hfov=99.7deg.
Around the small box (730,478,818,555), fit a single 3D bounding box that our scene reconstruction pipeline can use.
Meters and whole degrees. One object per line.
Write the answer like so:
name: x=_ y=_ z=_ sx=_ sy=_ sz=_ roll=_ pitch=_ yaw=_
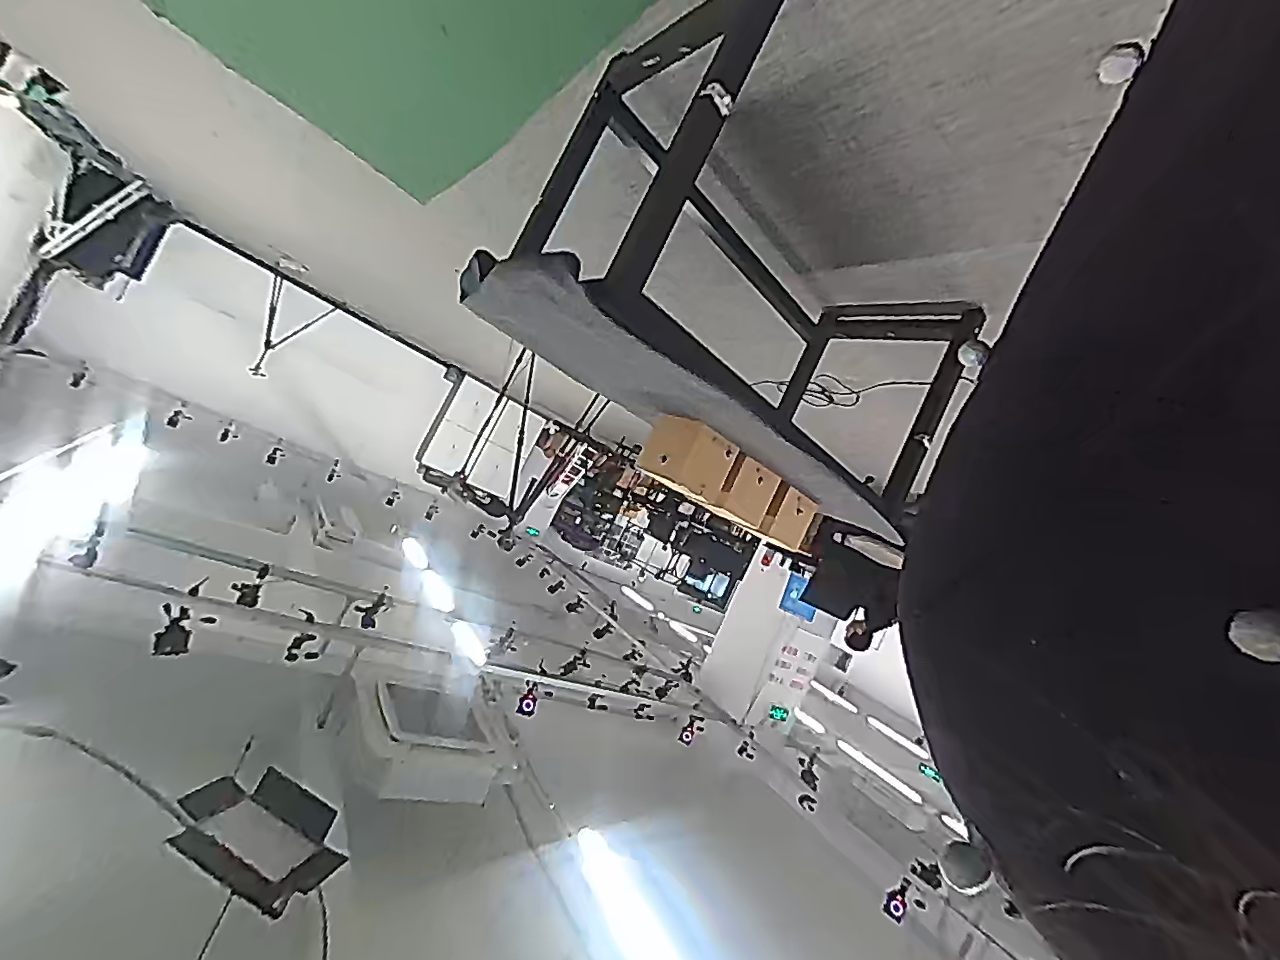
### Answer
small box: x=0.425 y=0.108 z=1.702 sx=0.168 sy=0.176 sz=0.179 roll=29 pitch=176 yaw=-36
